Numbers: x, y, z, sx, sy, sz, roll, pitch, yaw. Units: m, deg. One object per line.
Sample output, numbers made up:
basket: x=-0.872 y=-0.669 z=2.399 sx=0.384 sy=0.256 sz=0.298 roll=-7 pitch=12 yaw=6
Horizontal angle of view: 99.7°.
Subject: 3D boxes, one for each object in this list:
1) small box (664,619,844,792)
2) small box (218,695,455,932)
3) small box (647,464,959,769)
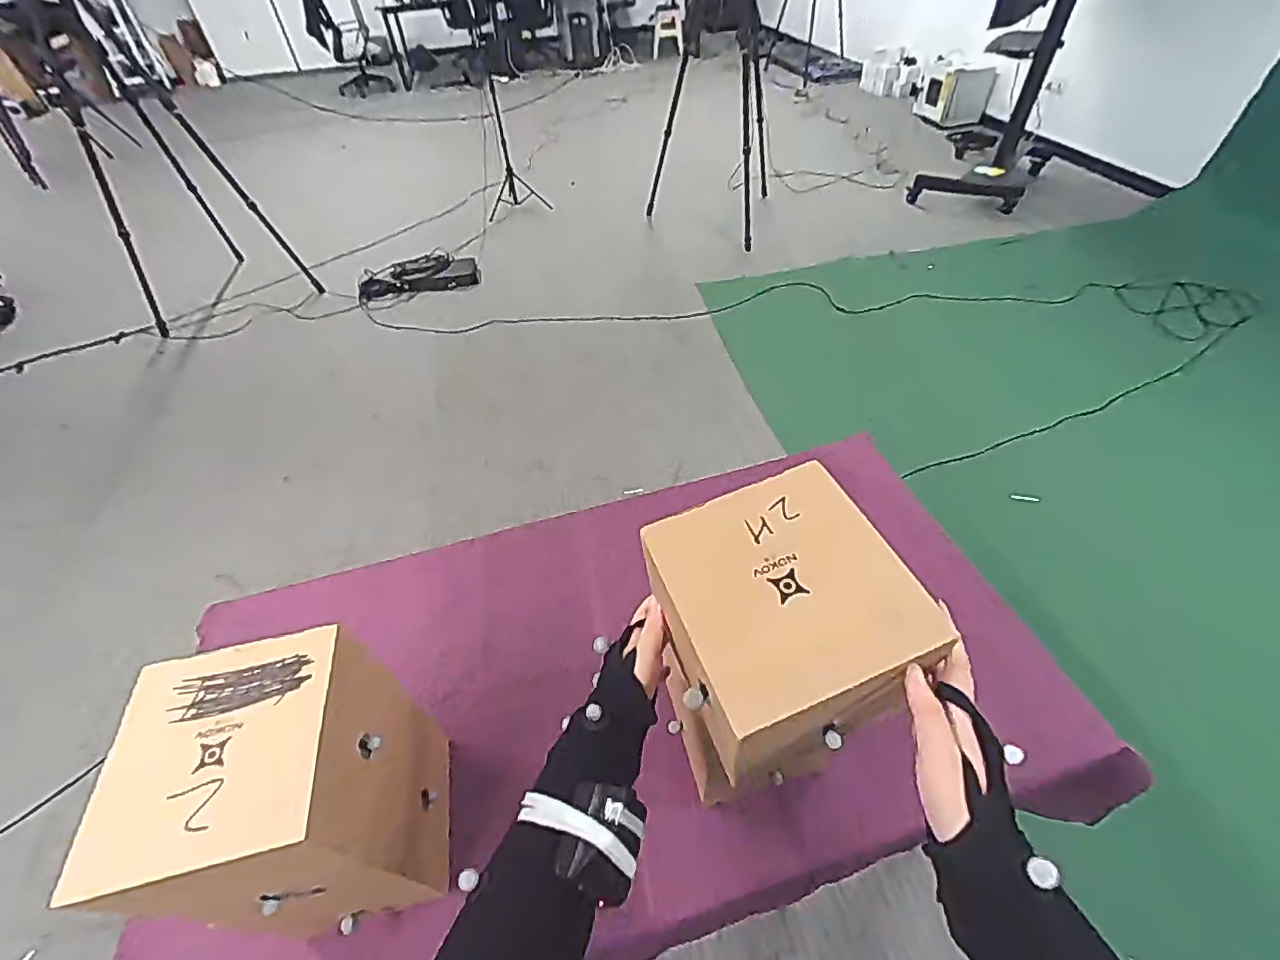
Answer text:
small box: x=0.134 y=0.266 z=0.672 sx=0.168 sy=0.176 sz=0.179 roll=-13 pitch=49 yaw=-8
small box: x=-0.315 y=0.374 z=0.607 sx=0.168 sy=0.176 sz=0.179 roll=-12 pitch=49 yaw=-7
small box: x=0.119 y=0.123 z=0.460 sx=0.168 sy=0.176 sz=0.179 roll=-20 pitch=51 yaw=-8
